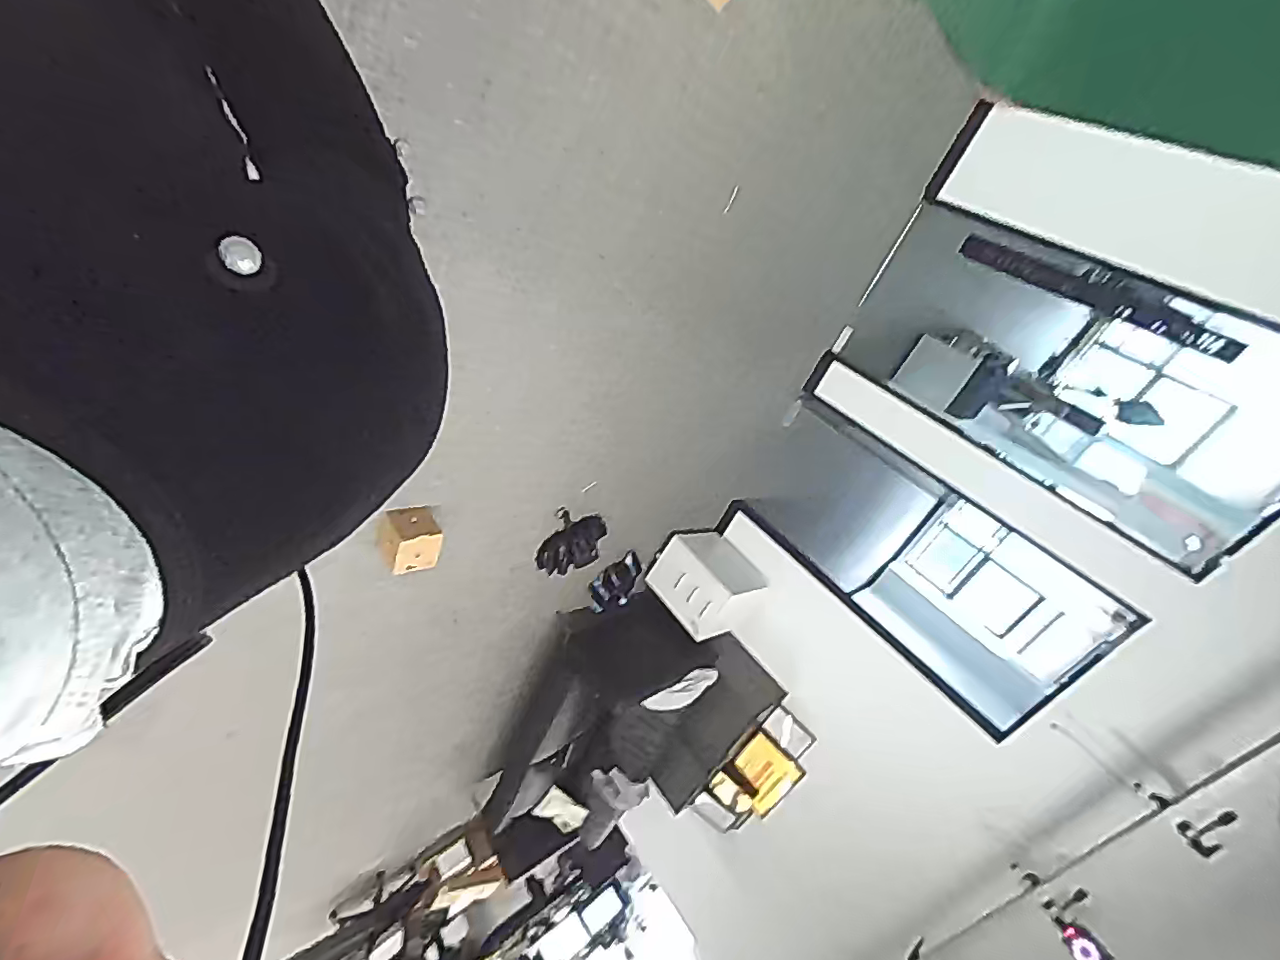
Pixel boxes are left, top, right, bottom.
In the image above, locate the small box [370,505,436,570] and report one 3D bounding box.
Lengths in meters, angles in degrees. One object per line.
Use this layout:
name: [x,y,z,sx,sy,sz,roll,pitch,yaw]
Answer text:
small box: [-0.907,0.210,2.059,0.168,0.176,0.179,-8,134,-46]
